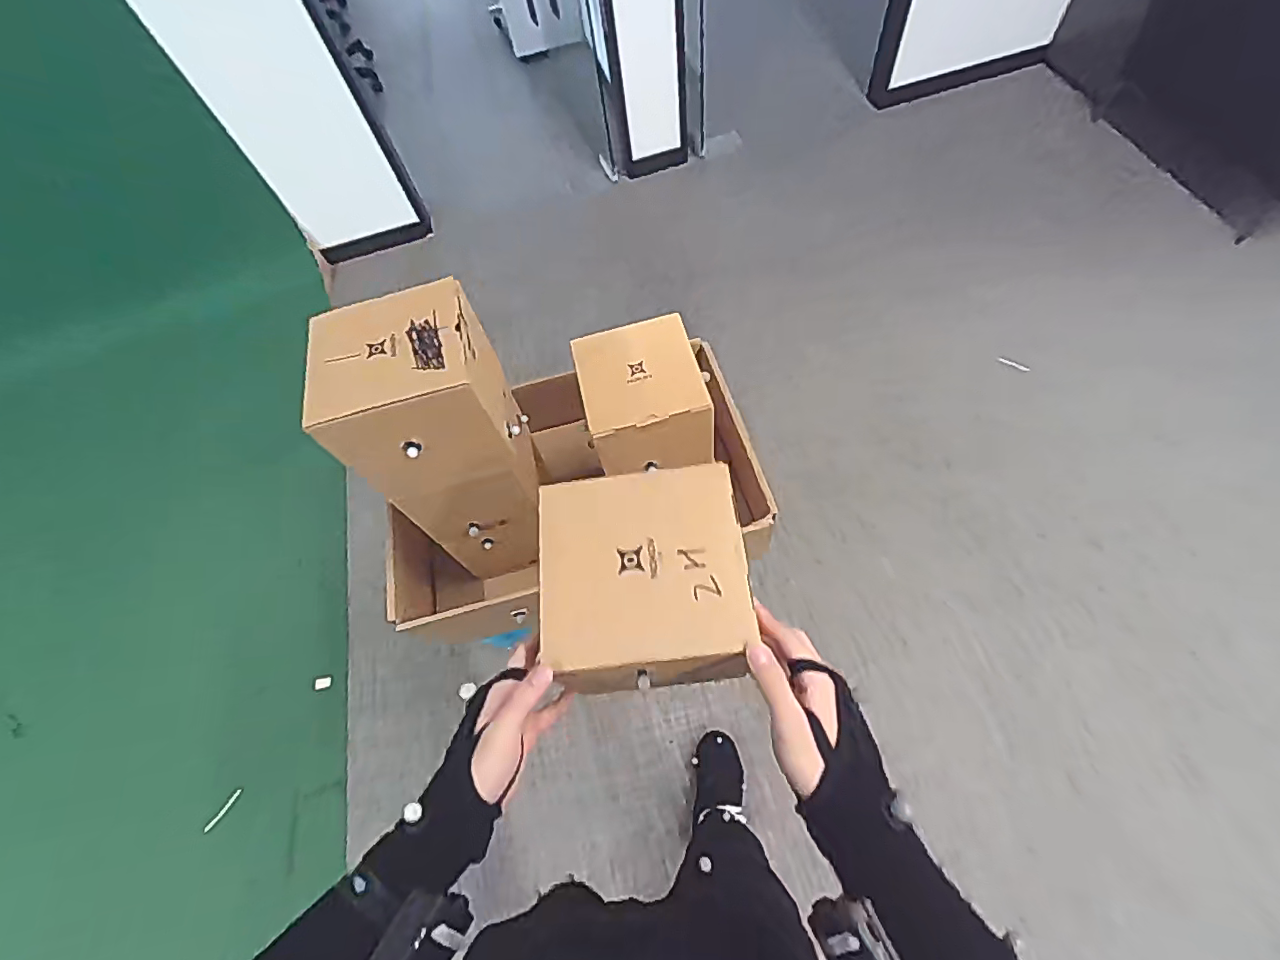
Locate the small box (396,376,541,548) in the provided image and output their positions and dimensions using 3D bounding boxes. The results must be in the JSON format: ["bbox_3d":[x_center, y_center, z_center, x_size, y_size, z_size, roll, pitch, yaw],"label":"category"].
[{"bbox_3d":[-0.250,-0.023,0.803,0.168,0.176,0.179,-14,61,-1],"label":"small box"}]

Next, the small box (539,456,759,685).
[{"bbox_3d":[0.010,0.097,0.524,0.179,0.176,0.168,-8,62,3],"label":"small box"}]

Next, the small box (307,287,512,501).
[{"bbox_3d":[-0.264,-0.097,0.658,0.179,0.176,0.168,-15,60,-1],"label":"small box"}]

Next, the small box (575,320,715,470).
[{"bbox_3d":[0.009,-0.103,0.810,0.168,0.176,0.179,-15,60,0],"label":"small box"}]
